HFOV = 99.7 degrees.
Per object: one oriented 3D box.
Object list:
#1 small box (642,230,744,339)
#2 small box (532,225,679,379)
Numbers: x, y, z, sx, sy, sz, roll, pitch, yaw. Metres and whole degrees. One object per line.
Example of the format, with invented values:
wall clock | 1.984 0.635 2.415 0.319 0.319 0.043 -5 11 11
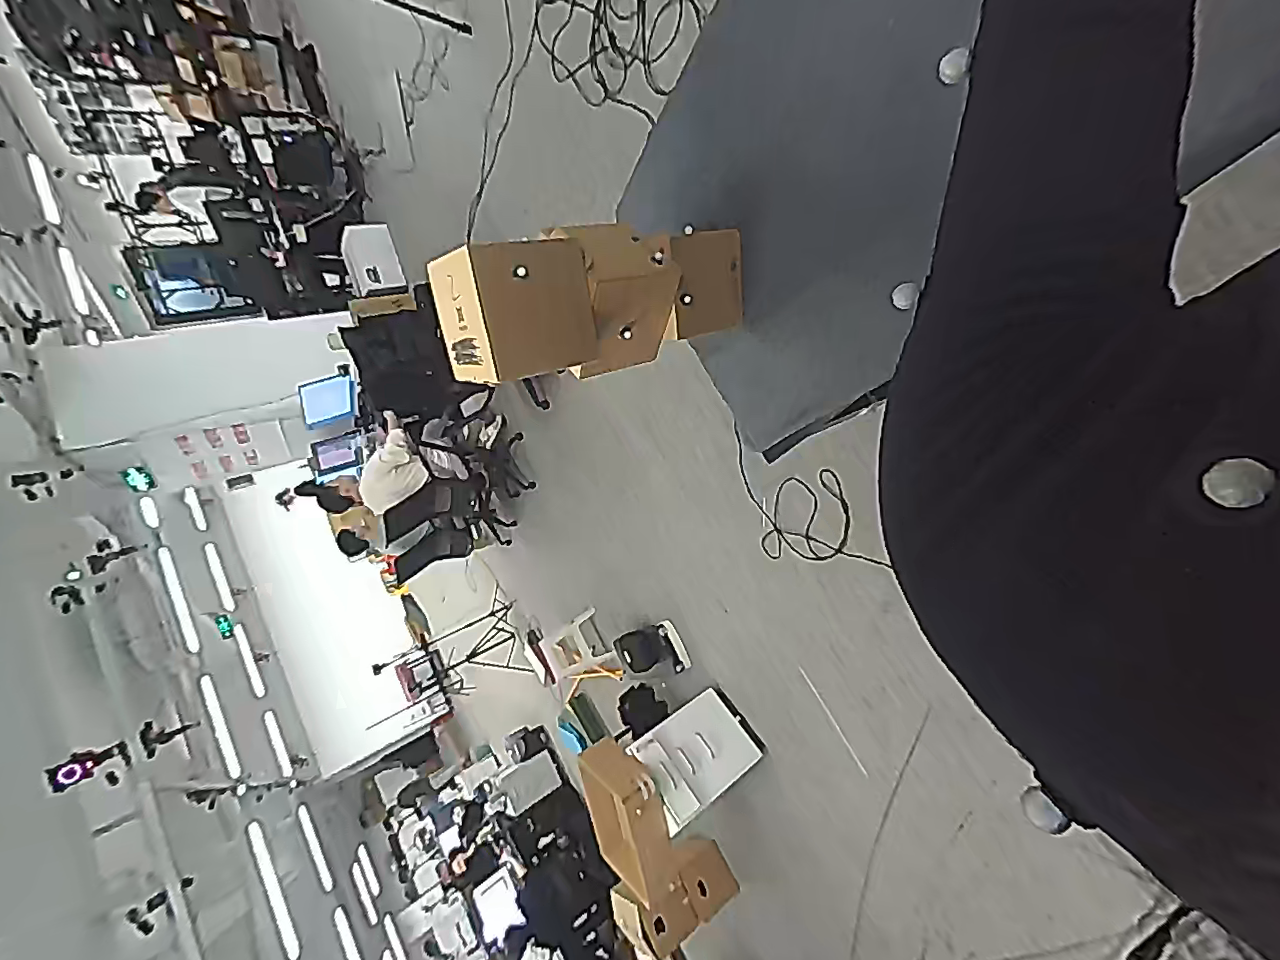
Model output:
small box | 0.069 -0.356 0.986 0.179 0.176 0.168 21 125 49
small box | -0.058 -0.301 0.896 0.168 0.176 0.179 49 143 26
